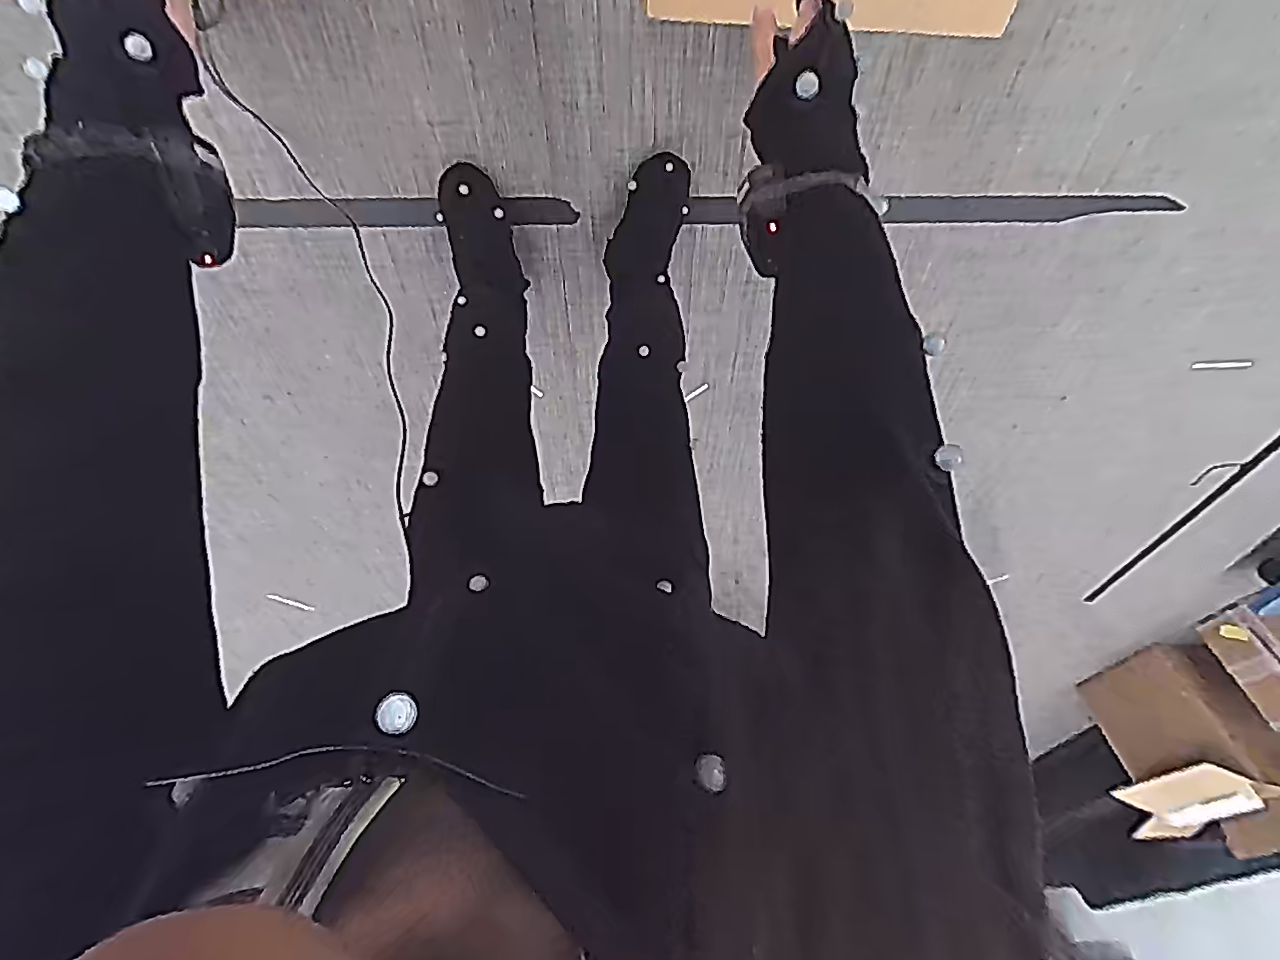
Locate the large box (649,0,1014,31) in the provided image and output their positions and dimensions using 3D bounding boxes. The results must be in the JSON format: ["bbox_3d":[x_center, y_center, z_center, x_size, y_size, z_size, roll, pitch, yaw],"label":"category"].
[{"bbox_3d":[0.206,-0.715,0.586,0.408,0.320,0.320,-1,138,-6],"label":"large box"}]
